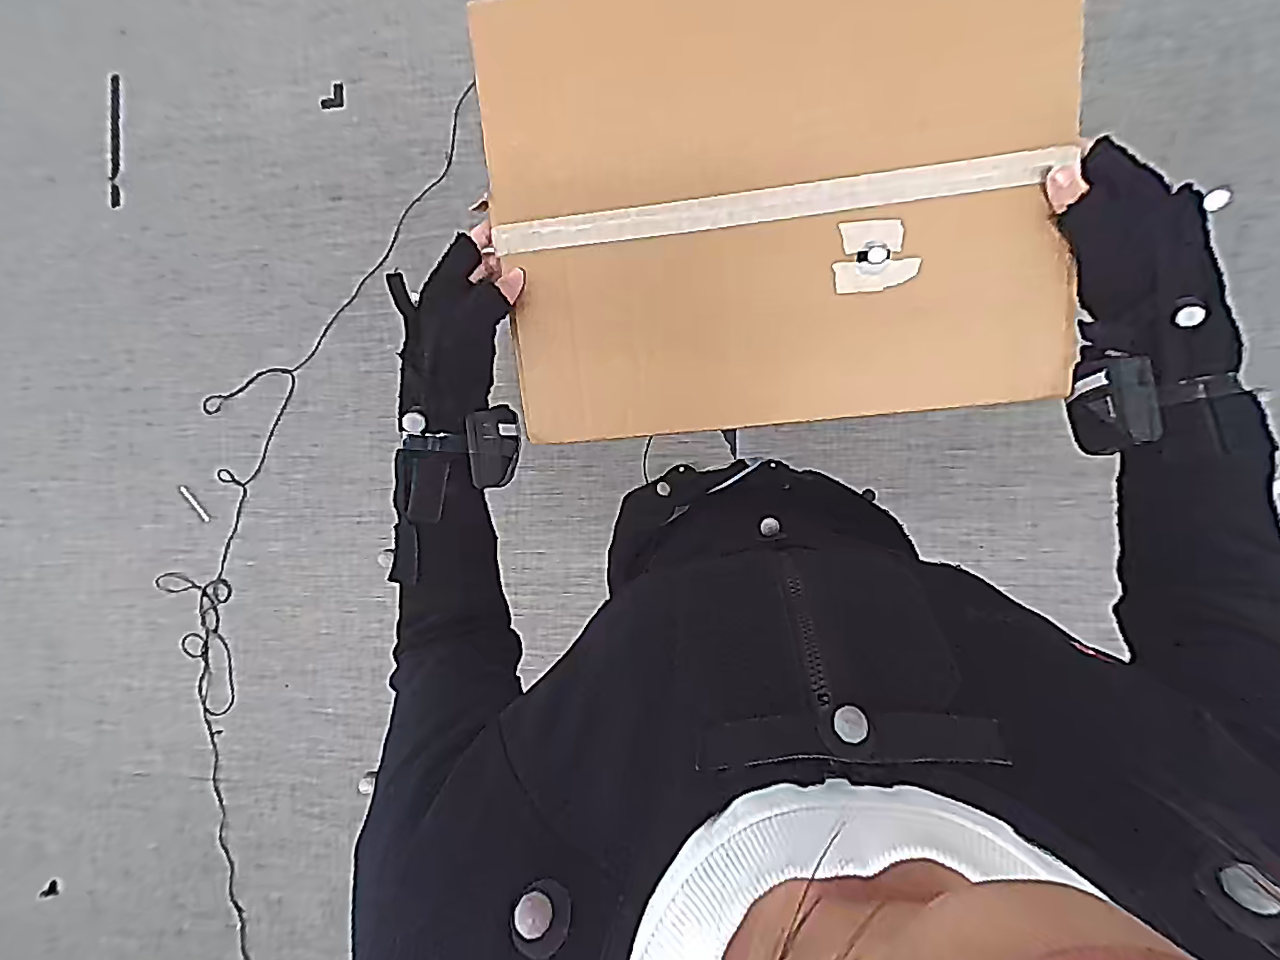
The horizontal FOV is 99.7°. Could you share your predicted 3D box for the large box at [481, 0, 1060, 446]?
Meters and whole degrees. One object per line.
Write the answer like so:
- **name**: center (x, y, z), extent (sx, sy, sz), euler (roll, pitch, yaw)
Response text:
- **large box**: center (0.105, -0.224, 0.545), extent (0.408, 0.320, 0.320), euler (-6, 100, 5)
